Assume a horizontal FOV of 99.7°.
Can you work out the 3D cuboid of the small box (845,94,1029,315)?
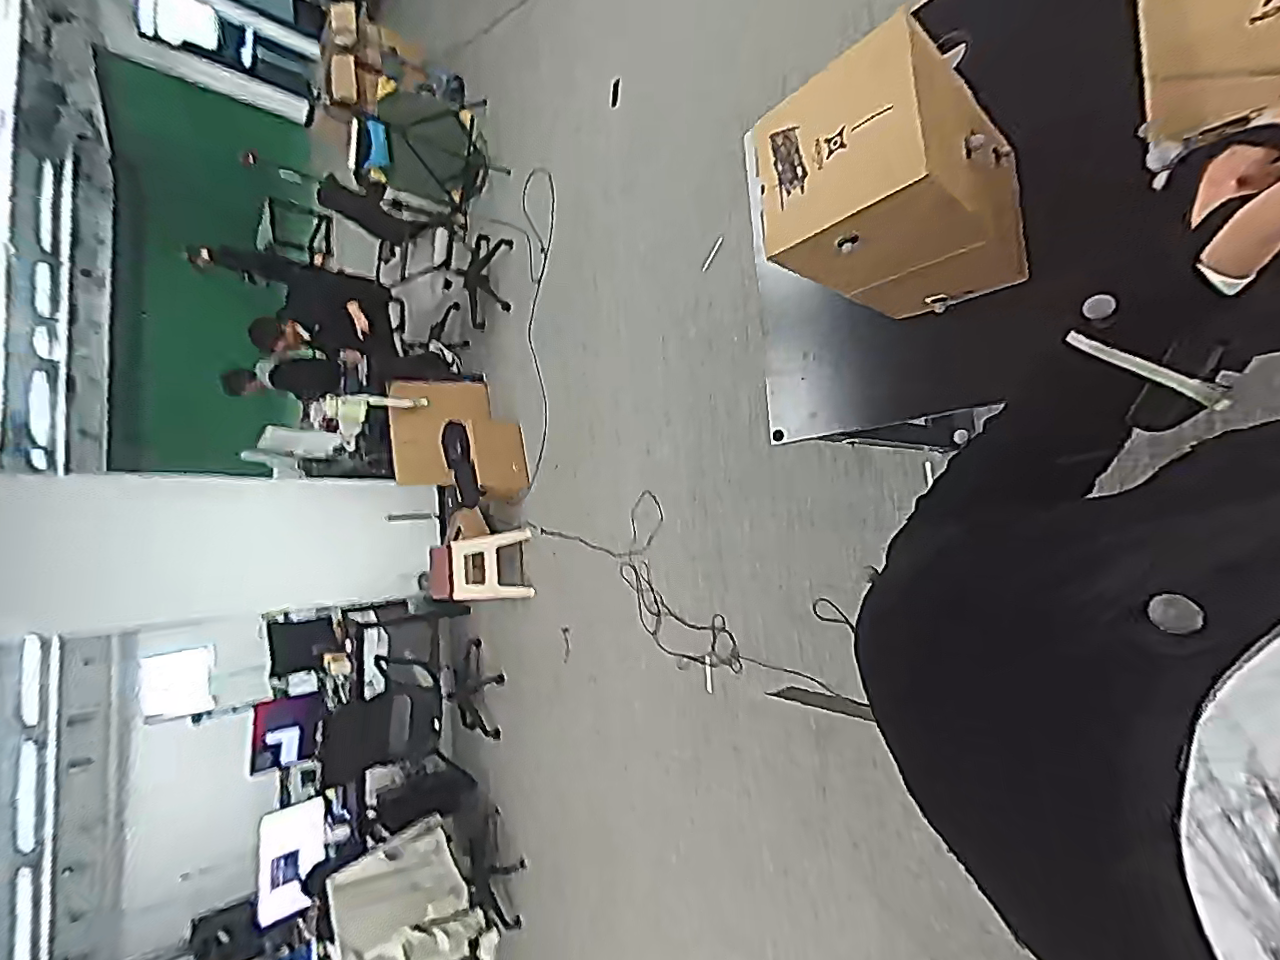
[{"bbox_3d":[0.376,-0.336,0.701,0.168,0.176,0.179,-11,82,51],"label":"small box"}]

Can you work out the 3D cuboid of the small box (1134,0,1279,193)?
[{"bbox_3d":[0.564,-0.383,0.477,0.168,0.176,0.179,-4,87,50],"label":"small box"}]

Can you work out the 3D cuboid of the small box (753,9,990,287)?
[{"bbox_3d":[0.250,-0.335,0.595,0.179,0.176,0.168,-11,81,49],"label":"small box"}]
